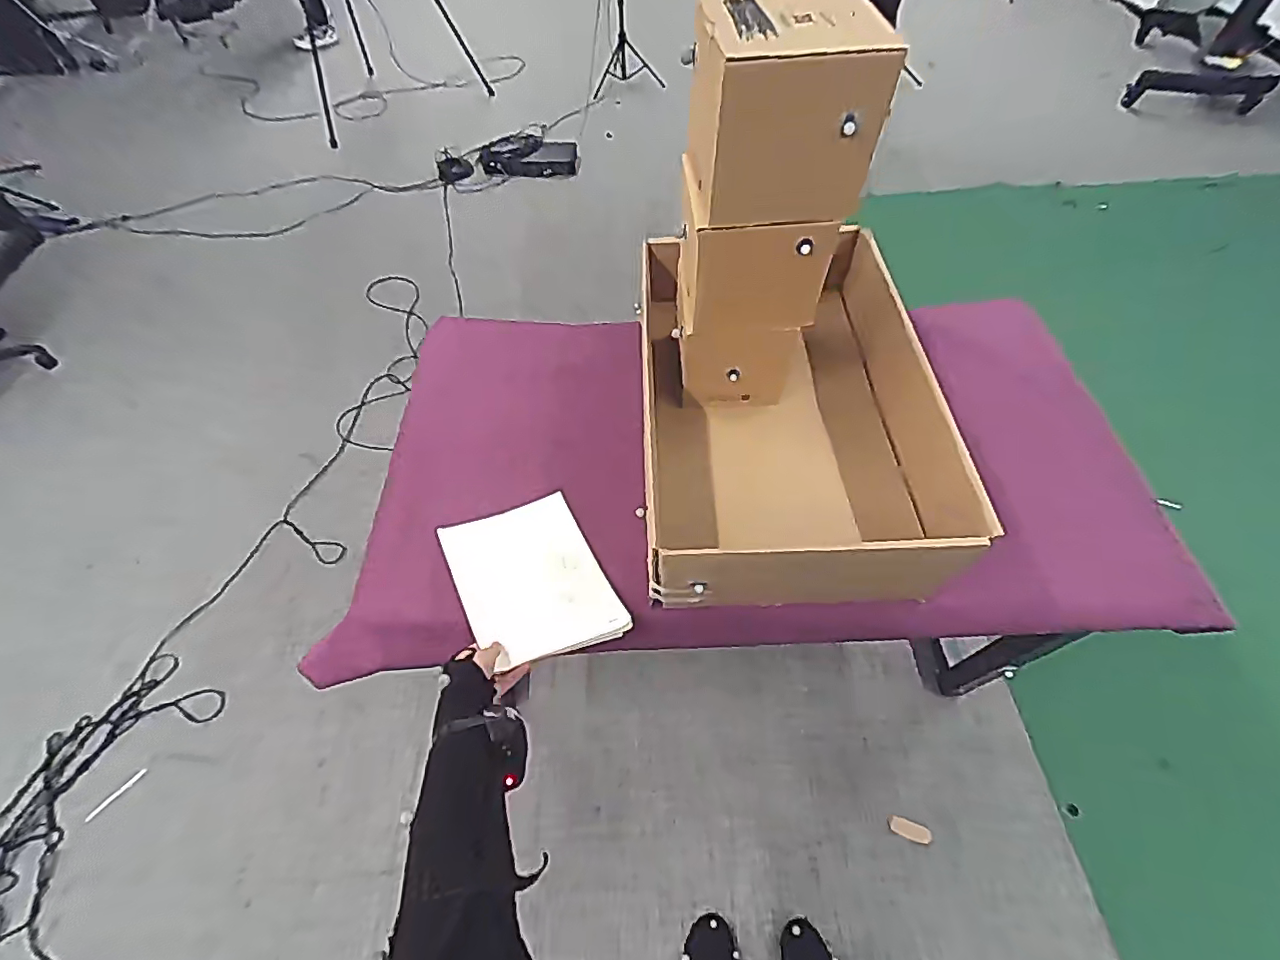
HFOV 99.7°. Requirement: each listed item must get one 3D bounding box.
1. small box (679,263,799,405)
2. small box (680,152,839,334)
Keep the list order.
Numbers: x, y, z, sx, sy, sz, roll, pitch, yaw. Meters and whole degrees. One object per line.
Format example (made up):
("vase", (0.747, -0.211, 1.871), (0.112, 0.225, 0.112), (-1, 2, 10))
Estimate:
("small box", (0.150, -0.235, 0.883), (0.168, 0.176, 0.179), (-2, 58, 2))
("small box", (0.149, -0.319, 0.745), (0.179, 0.176, 0.168), (-4, 58, 0))
